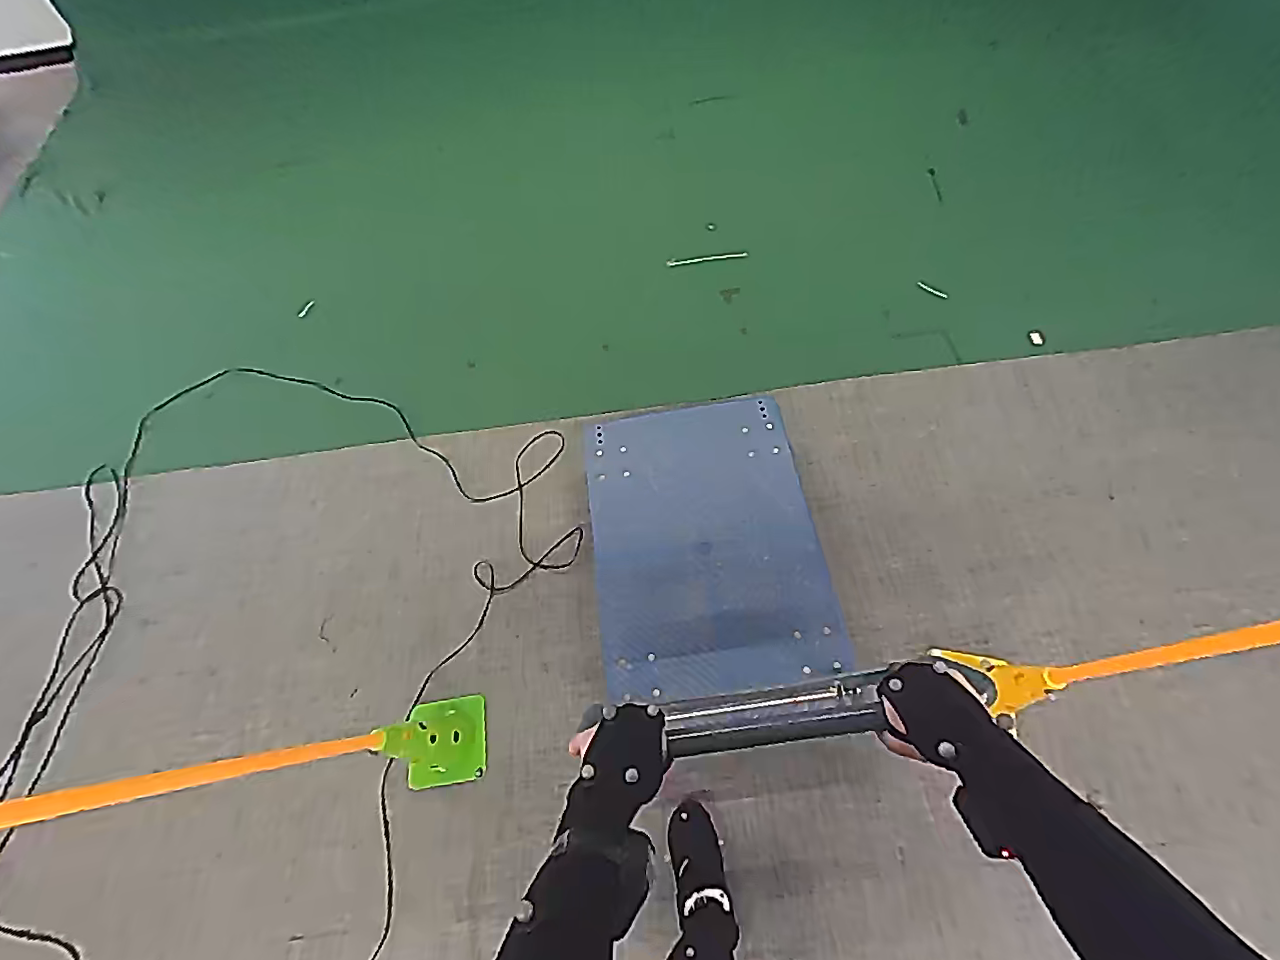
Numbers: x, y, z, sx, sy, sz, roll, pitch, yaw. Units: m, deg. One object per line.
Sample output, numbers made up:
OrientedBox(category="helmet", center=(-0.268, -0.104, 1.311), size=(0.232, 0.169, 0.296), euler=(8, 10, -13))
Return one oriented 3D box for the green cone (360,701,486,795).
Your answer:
OrientedBox(category="green cone", center=(-0.517, 0.611, 1.243), size=(0.202, 0.368, 0.200), euler=(-12, 62, 2))
